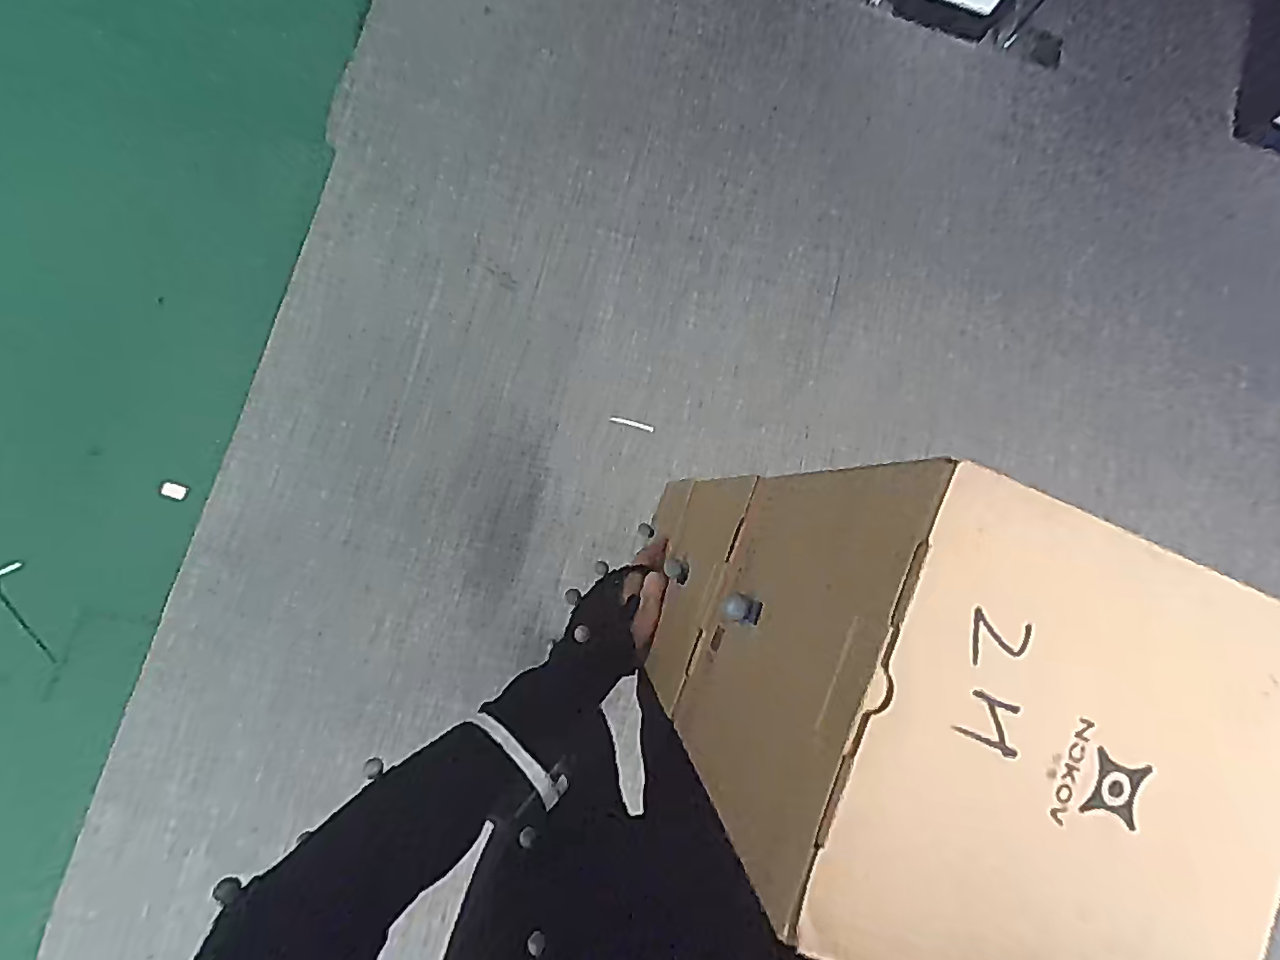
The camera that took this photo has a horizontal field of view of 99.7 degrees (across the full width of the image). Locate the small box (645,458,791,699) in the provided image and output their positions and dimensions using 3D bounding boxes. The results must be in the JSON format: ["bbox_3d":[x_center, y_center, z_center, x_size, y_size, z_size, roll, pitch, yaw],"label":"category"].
[{"bbox_3d":[0.115,0.095,0.435,0.179,0.176,0.168,21,85,-6],"label":"small box"}]

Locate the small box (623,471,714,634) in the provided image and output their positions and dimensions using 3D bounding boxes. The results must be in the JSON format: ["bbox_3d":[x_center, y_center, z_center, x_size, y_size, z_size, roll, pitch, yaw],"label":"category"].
[{"bbox_3d":[0.093,0.097,0.598,0.179,0.176,0.168,20,85,-6],"label":"small box"}]
